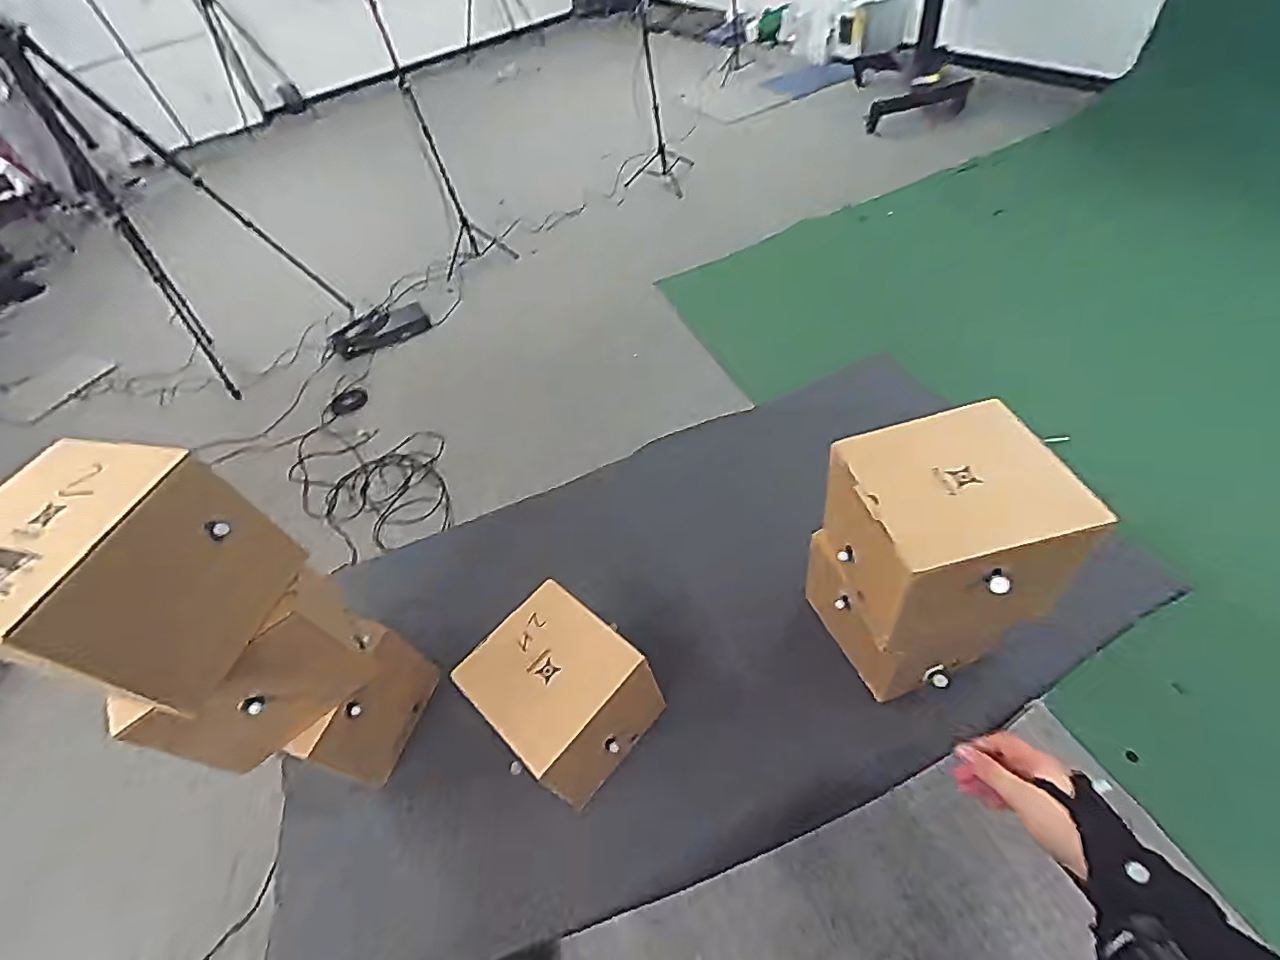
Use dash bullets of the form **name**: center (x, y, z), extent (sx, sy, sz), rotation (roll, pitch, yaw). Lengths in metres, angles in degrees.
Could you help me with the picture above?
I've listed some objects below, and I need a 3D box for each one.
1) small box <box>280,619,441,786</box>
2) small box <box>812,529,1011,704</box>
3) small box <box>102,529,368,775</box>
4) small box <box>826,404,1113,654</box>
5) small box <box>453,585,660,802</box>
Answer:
- **small box**: center (-0.416, 0.298, 0.745), extent (0.179, 0.176, 0.168), rotation (8, 53, 19)
- **small box**: center (0.334, 0.150, 0.686), extent (0.168, 0.176, 0.179), rotation (-23, 48, -5)
- **small box**: center (-0.444, 0.196, 0.618), extent (0.179, 0.176, 0.168), rotation (-38, 53, -18)
- **small box**: center (0.308, 0.054, 0.557), extent (0.179, 0.176, 0.168), rotation (-16, 47, 2)
- **small box**: center (-0.094, 0.274, 0.686), extent (0.179, 0.176, 0.168), rotation (30, 62, 34)
